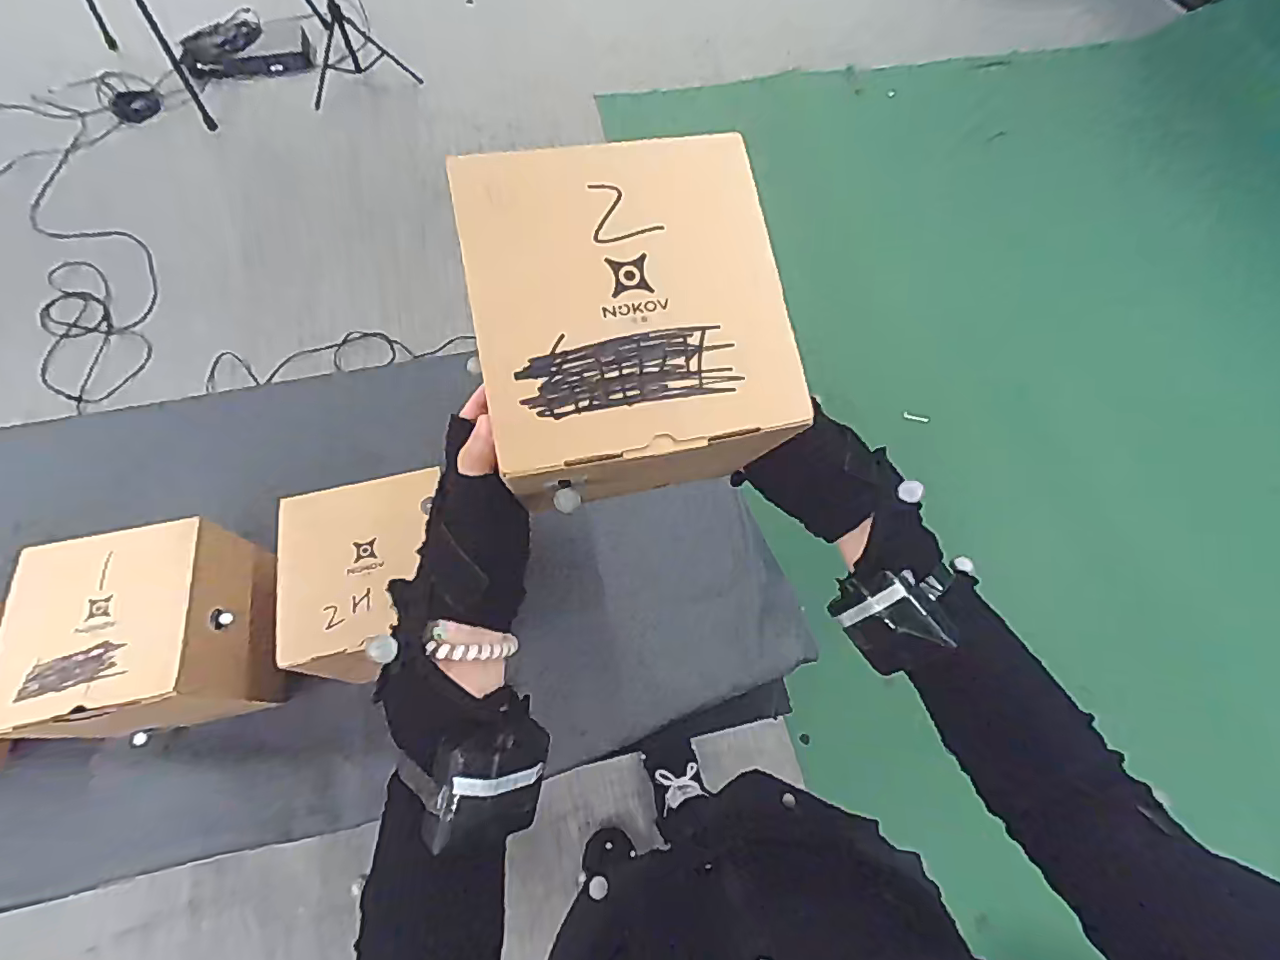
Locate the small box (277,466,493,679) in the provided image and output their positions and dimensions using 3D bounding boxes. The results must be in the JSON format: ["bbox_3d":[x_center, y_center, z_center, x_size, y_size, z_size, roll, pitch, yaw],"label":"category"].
[{"bbox_3d":[-0.271,0.110,0.606,0.168,0.176,0.179,-12,66,-7],"label":"small box"}]

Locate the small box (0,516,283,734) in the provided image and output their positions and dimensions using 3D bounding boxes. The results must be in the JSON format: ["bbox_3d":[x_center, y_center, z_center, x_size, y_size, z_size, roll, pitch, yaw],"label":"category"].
[{"bbox_3d":[-0.507,0.160,0.577,0.168,0.176,0.179,-10,65,-7],"label":"small box"}]
